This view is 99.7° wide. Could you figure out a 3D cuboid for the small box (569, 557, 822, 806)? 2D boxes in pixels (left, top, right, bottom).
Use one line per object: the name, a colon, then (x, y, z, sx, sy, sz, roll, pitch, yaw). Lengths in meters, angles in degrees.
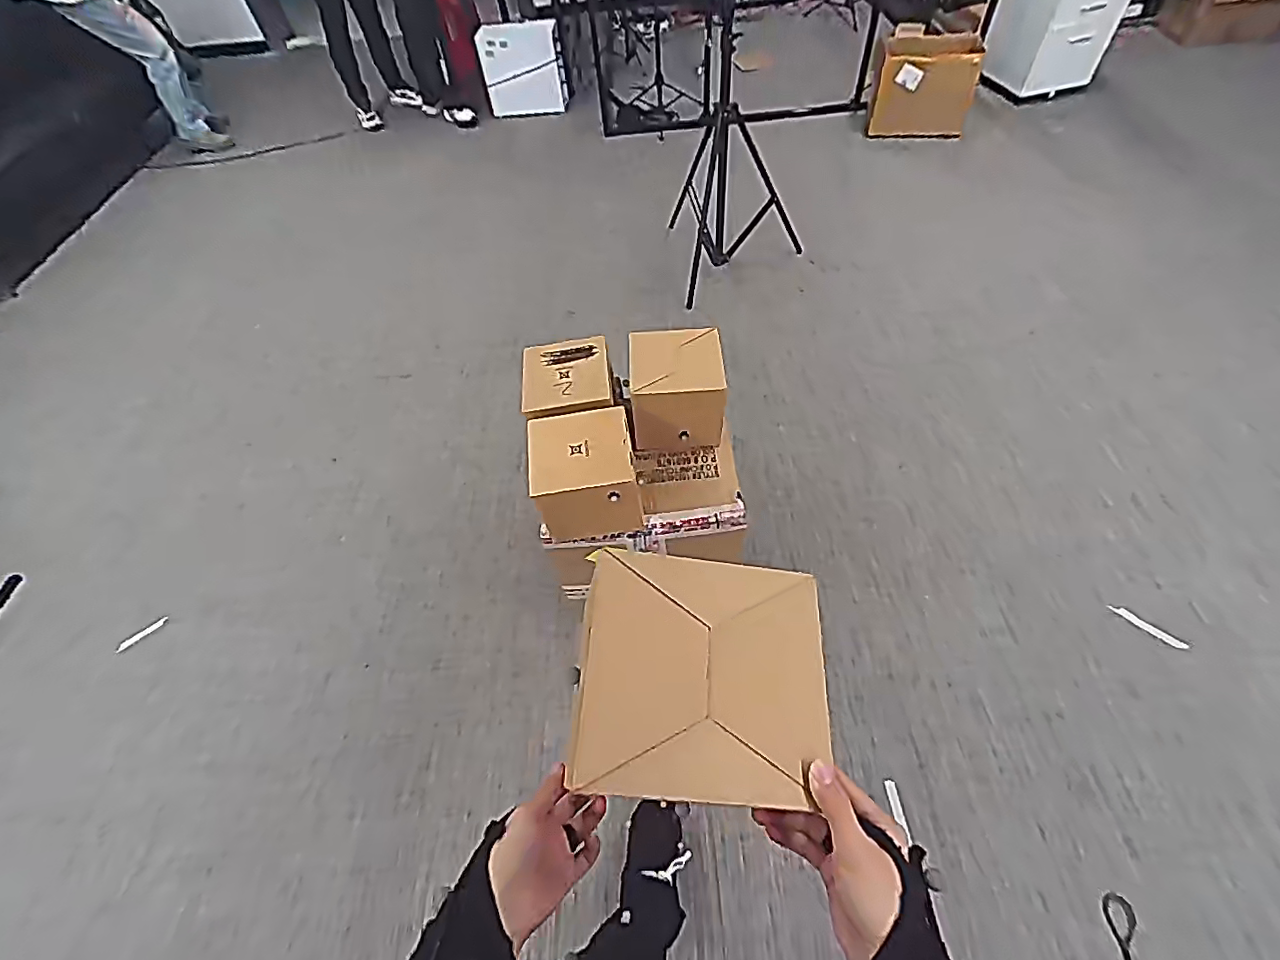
small box: (0.038, 0.178, 0.467, 0.179, 0.176, 0.168, 8, 60, -7)
